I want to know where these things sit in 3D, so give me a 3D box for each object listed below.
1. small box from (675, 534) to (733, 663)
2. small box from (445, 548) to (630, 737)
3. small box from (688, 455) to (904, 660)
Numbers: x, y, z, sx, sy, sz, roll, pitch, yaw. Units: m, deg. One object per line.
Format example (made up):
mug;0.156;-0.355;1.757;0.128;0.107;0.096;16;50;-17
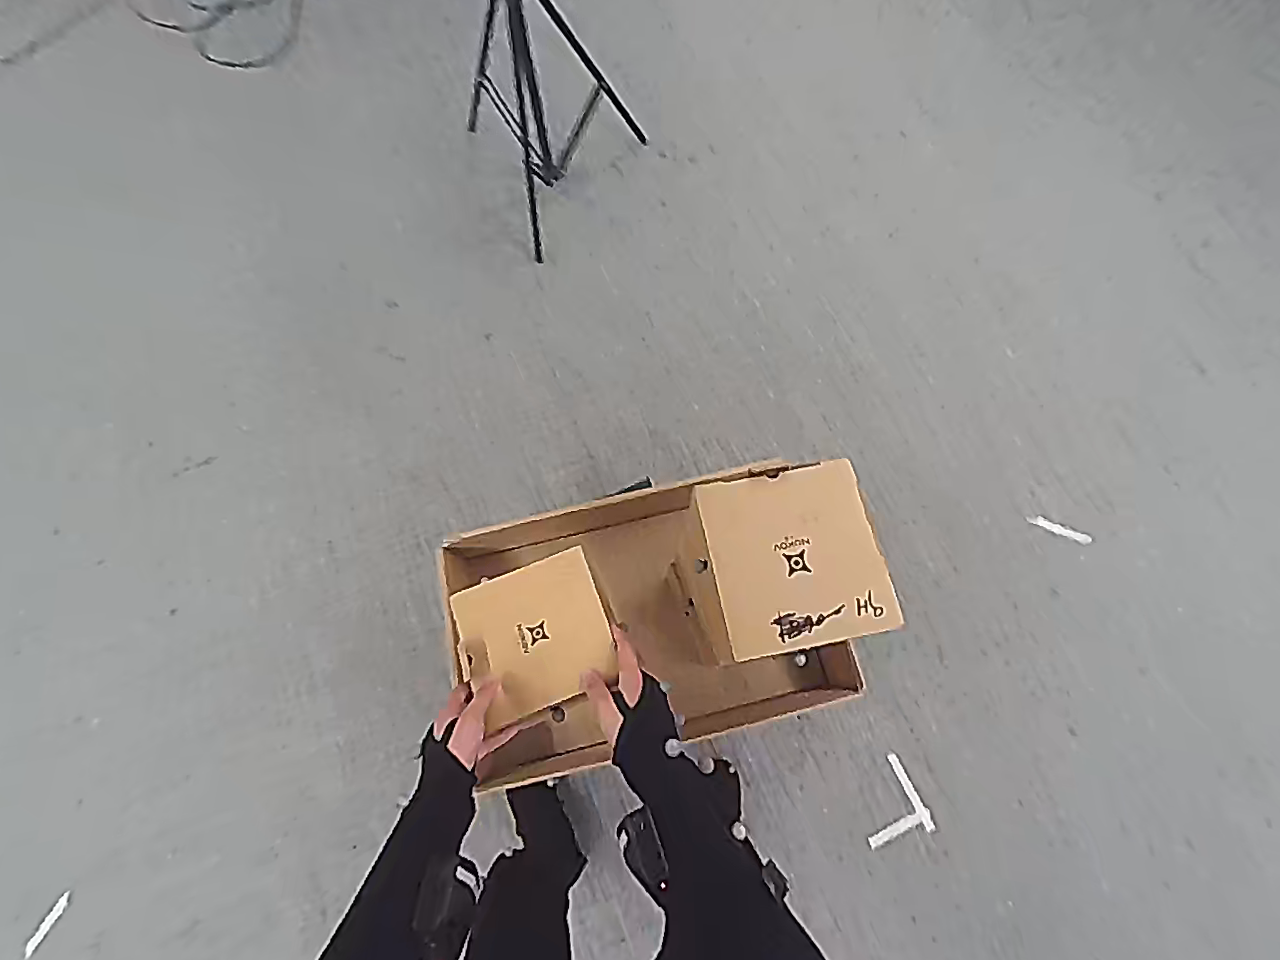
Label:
small box;0.154;0.149;0.749;0.179;0.176;0.168;-17;73;-4
small box;-0.119;0.207;0.694;0.179;0.176;0.168;-22;68;-3
small box;0.150;0.094;0.594;0.168;0.176;0.179;-11;71;-1
